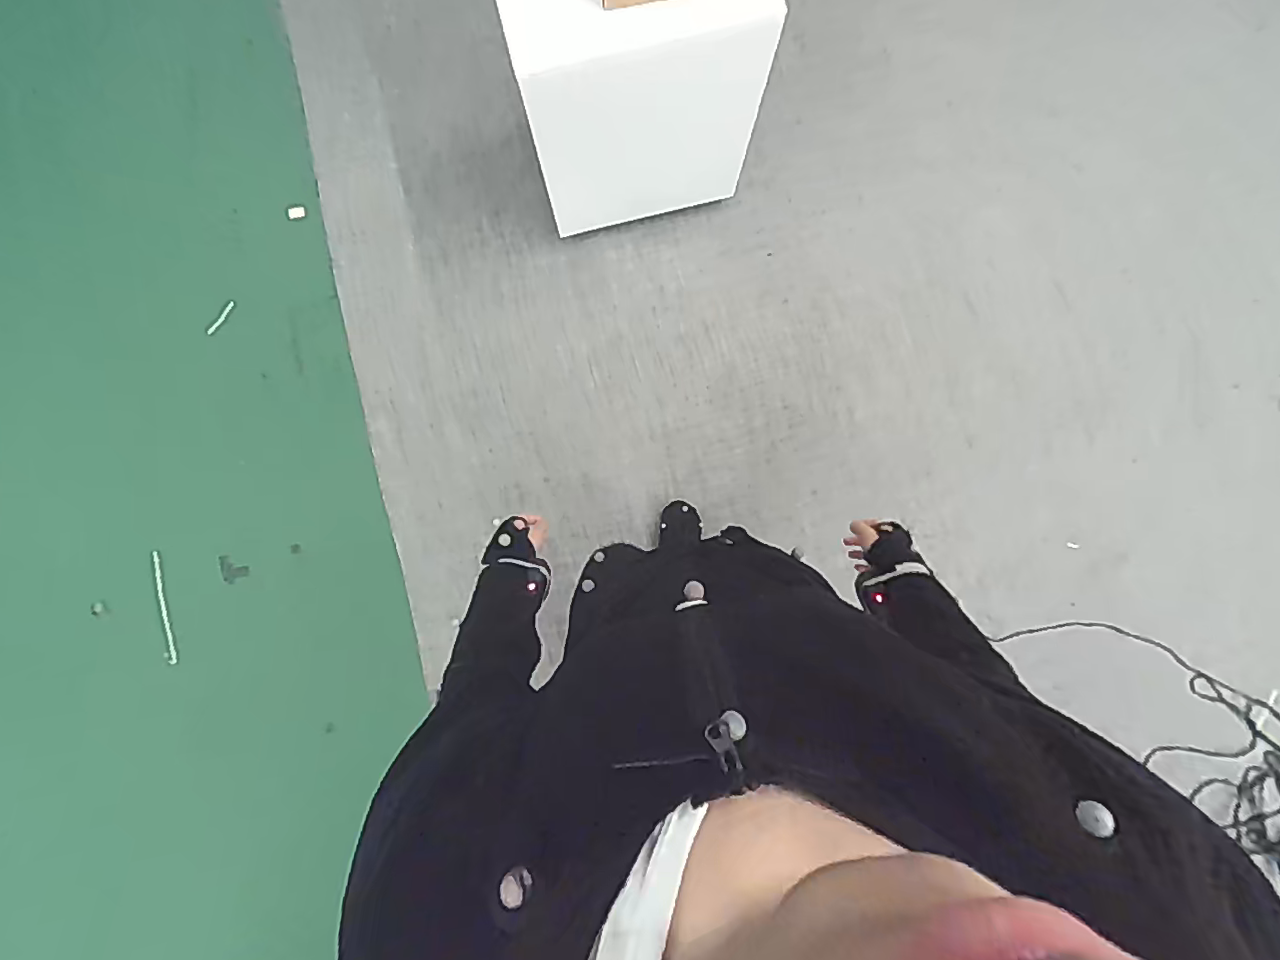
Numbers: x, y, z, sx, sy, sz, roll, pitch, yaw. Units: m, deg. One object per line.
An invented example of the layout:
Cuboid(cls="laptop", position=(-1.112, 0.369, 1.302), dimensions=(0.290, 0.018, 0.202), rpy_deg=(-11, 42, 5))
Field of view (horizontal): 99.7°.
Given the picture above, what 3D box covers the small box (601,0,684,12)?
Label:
Cuboid(cls="small box", position=(-0.002, -0.942, 0.899), dimensions=(0.168, 0.176, 0.179), rpy_deg=(-12, 84, -1))
